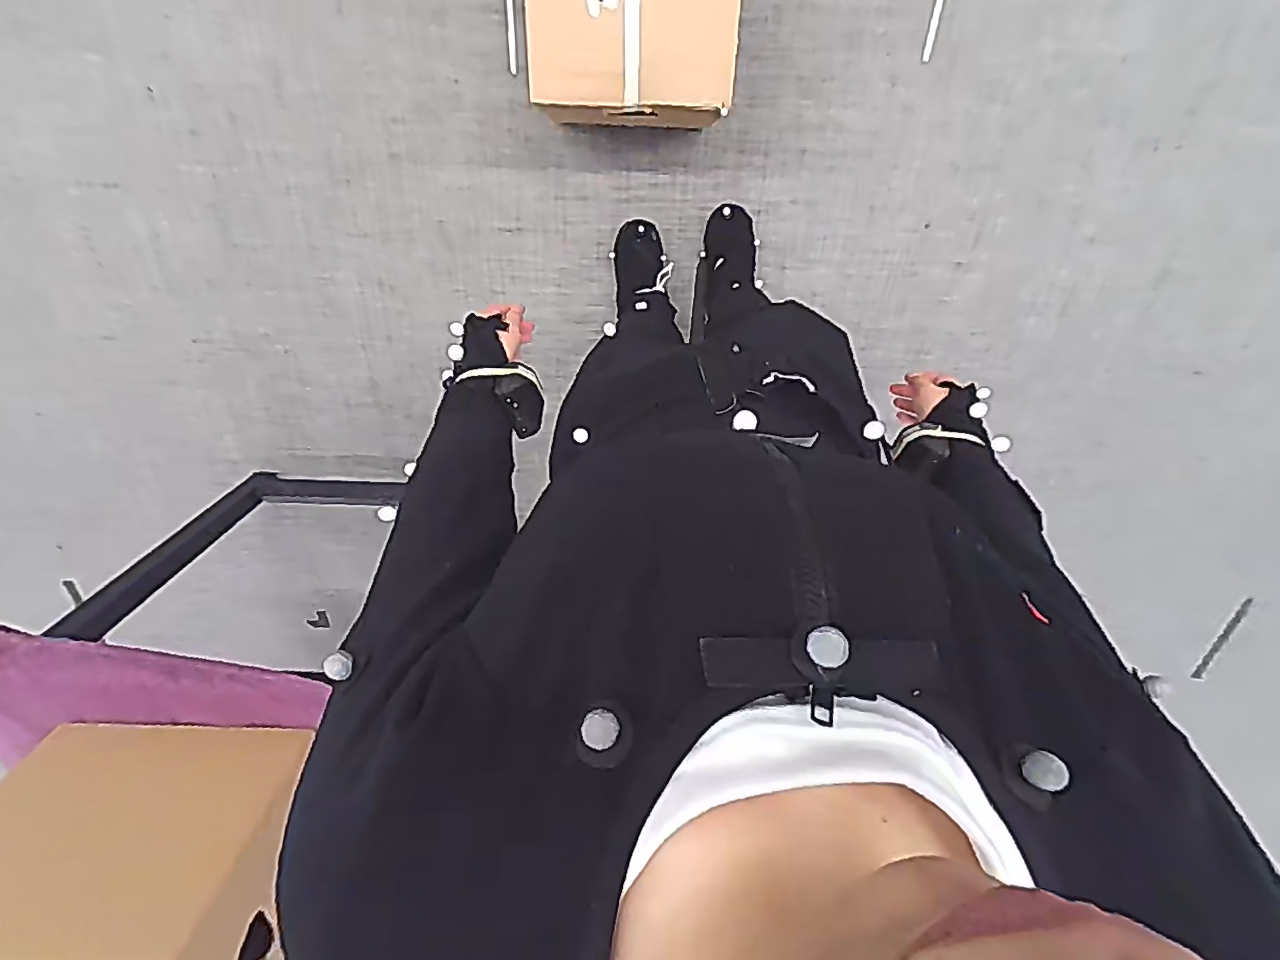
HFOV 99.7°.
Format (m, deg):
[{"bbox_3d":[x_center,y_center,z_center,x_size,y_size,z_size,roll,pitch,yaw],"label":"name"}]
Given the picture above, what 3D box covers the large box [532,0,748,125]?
[{"bbox_3d":[-0.002,-0.821,0.865,0.320,0.320,0.408,1,119,0],"label":"large box"}]
